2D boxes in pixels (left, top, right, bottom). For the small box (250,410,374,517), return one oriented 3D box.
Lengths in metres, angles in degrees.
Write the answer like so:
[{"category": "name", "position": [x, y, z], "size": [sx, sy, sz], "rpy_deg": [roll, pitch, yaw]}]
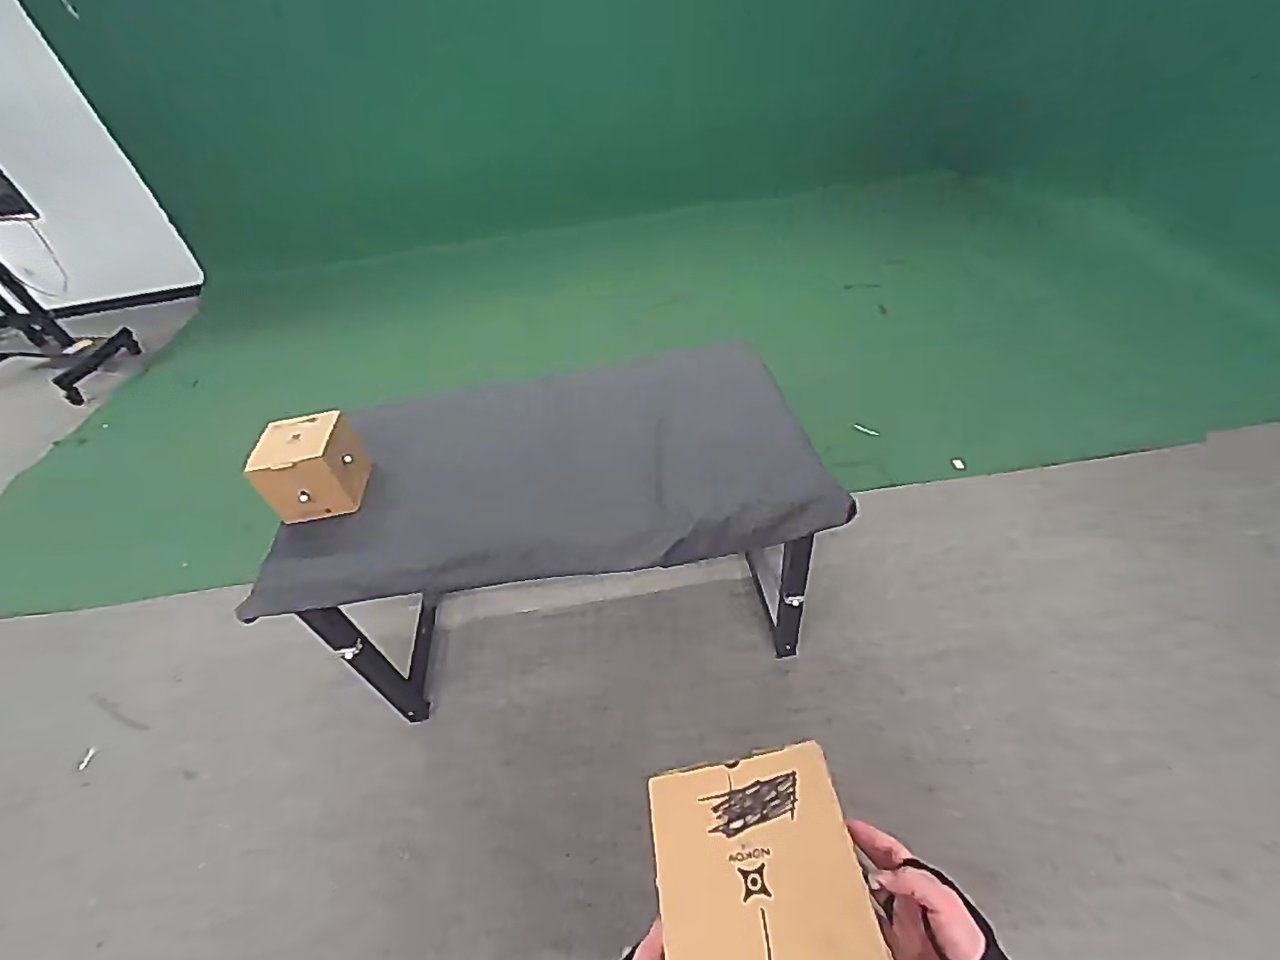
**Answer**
[{"category": "small box", "position": [-0.739, -0.032, 1.242], "size": [0.168, 0.176, 0.179], "rpy_deg": [-10, 45, -3]}]
